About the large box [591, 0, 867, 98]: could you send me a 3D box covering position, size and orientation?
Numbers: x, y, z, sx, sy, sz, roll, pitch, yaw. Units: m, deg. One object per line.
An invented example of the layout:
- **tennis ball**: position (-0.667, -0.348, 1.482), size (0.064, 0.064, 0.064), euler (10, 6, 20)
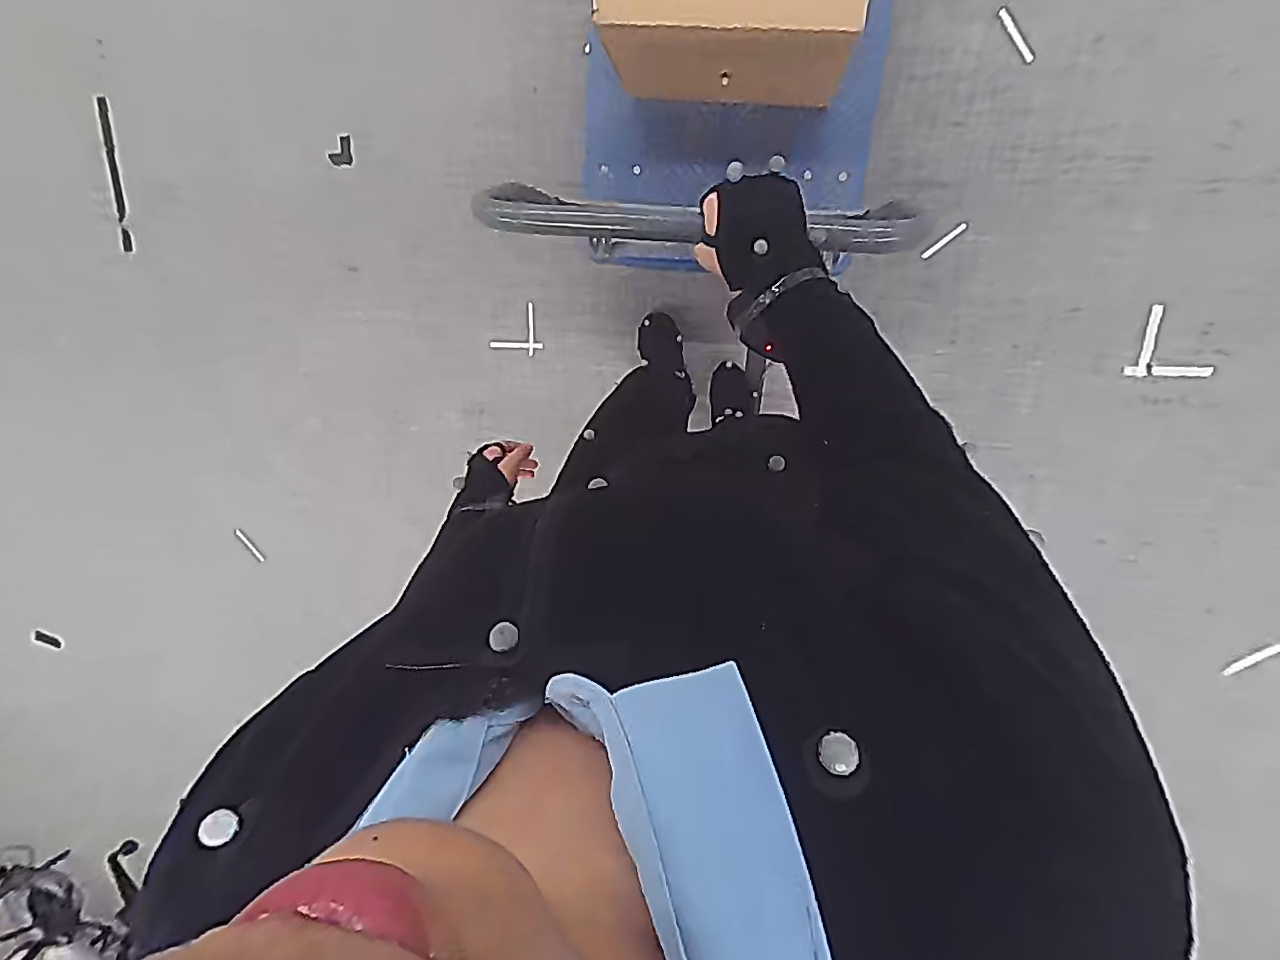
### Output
- **large box**: position (0.161, -0.856, 0.882), size (0.408, 0.320, 0.320), euler (8, 107, 9)
